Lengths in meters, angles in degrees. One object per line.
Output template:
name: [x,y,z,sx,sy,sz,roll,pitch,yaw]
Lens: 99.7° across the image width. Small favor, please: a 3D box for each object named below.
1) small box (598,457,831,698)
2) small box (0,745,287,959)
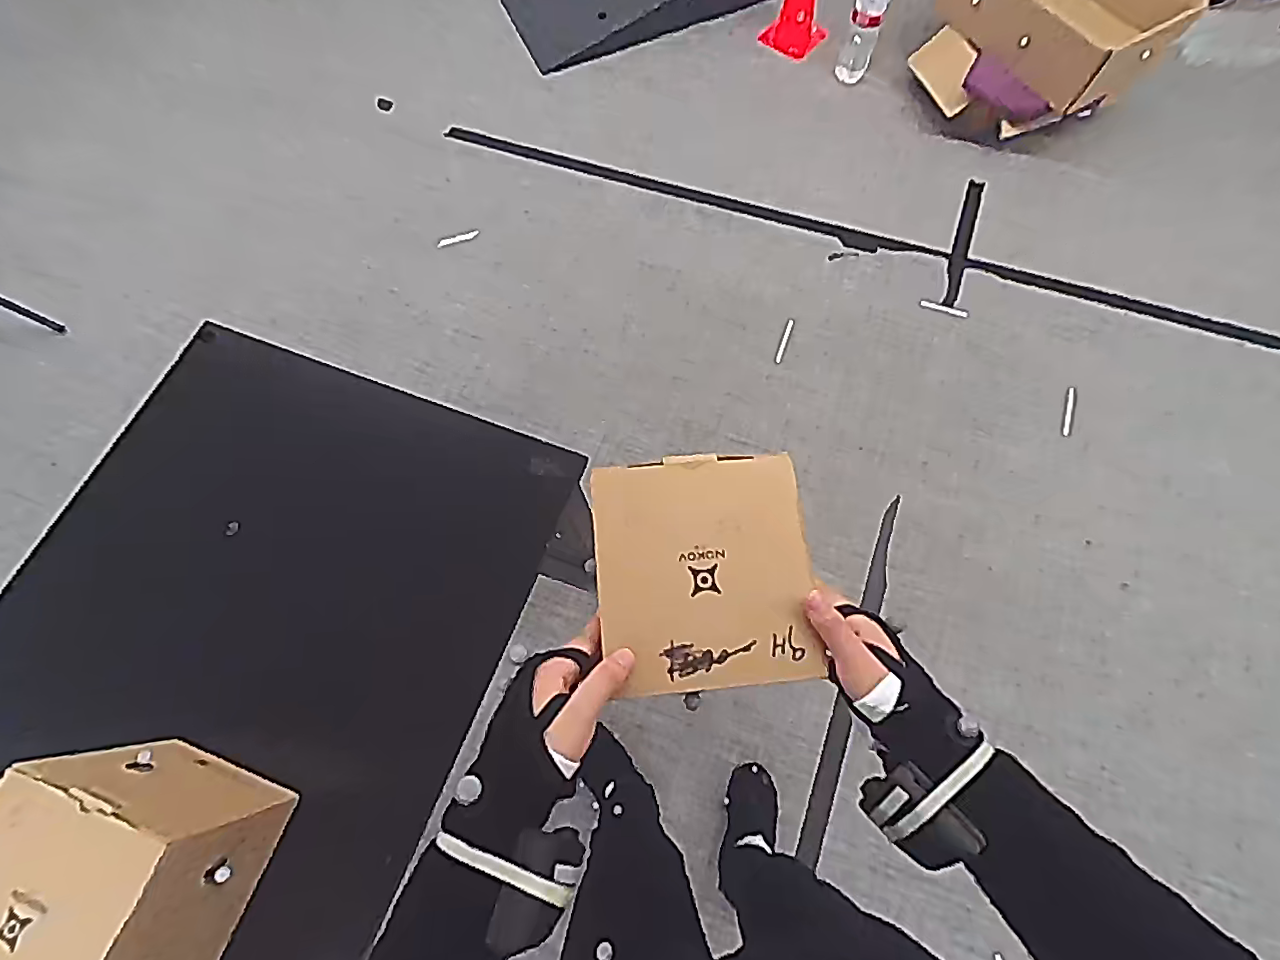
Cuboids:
small box: [0.051,0.093,0.492,0.168,0.176,0.179,-5,74,-2]
small box: [-0.470,0.363,0.491,0.168,0.176,0.179,18,73,9]
